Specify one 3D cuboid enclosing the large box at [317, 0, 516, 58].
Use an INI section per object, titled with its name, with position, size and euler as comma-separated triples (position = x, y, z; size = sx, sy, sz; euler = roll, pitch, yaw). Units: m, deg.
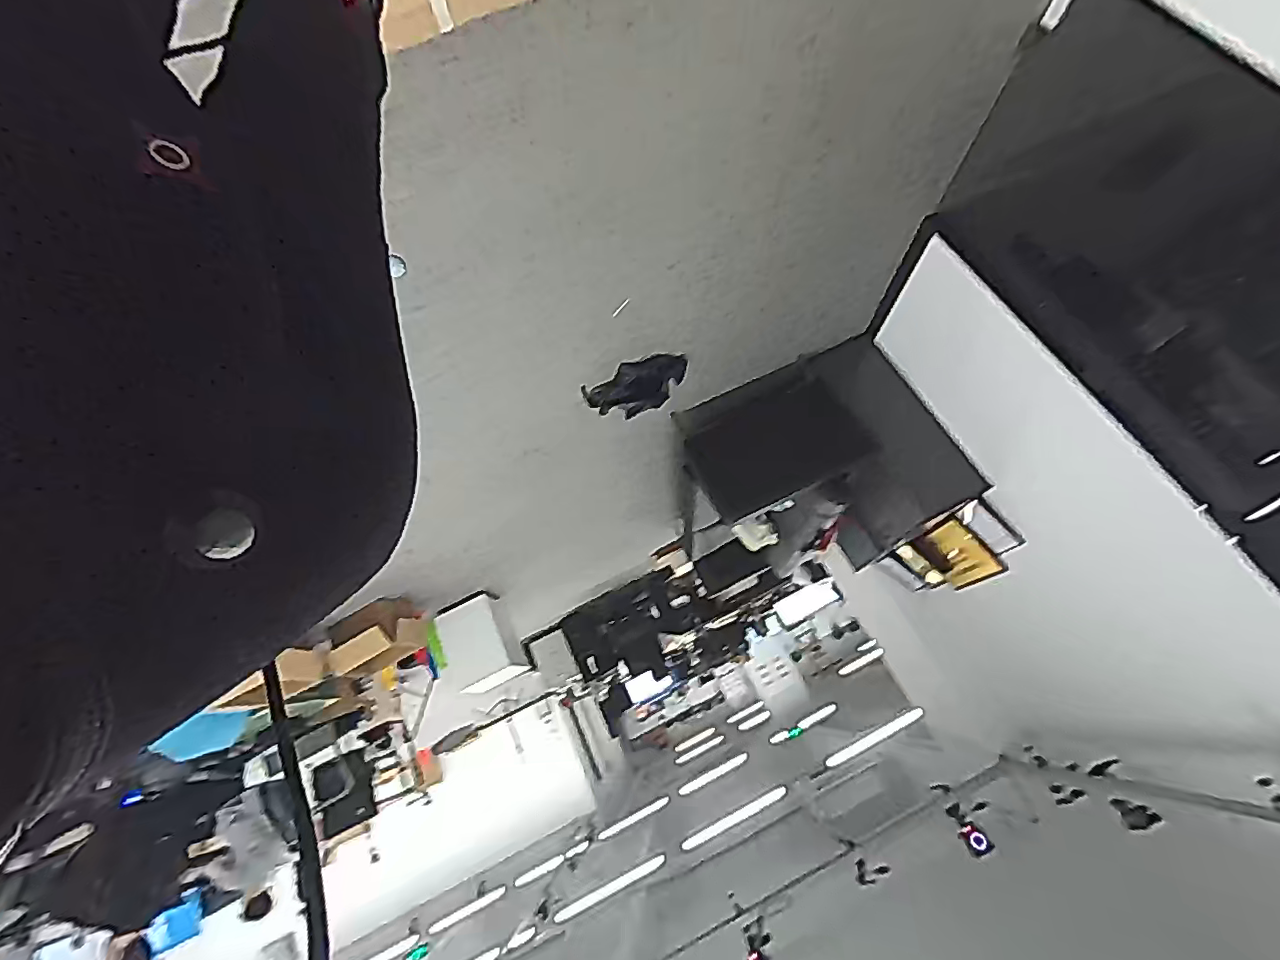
[large box]
position = -0.366, -0.875, 0.673
size = 0.320, 0.320, 0.408
euler = -24, 161, -6
